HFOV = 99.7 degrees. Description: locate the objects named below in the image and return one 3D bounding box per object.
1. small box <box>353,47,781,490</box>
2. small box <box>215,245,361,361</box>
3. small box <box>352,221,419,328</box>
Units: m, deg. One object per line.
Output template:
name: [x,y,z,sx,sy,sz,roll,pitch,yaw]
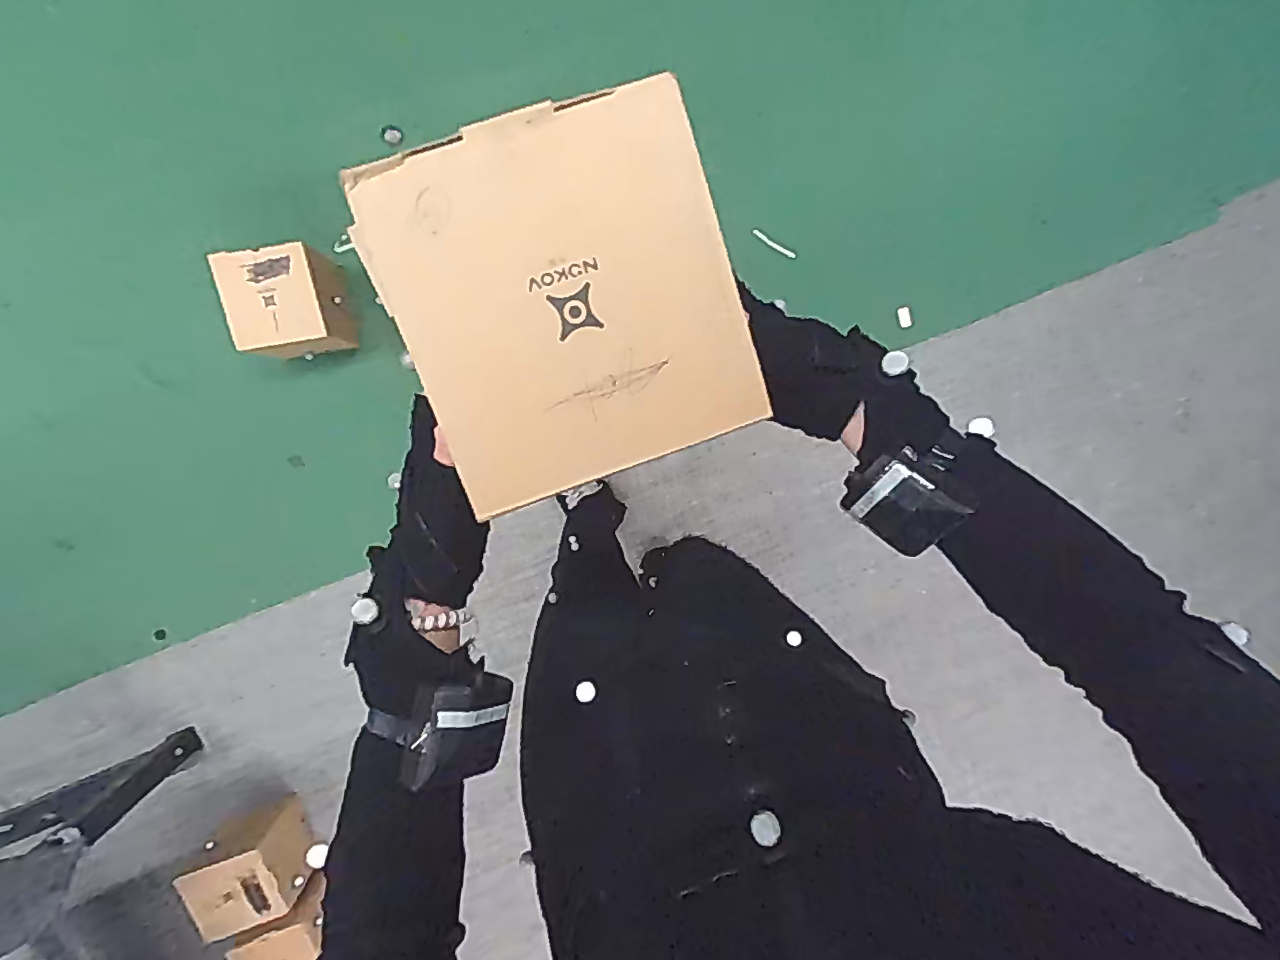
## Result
small box: [-0.039,-0.108,0.339,0.168,0.176,0.179,-19,99,-4]
small box: [-0.683,-0.342,1.070,0.168,0.176,0.179,-11,99,-6]
small box: [-0.438,-0.421,1.095,0.168,0.176,0.179,-24,98,-6]
